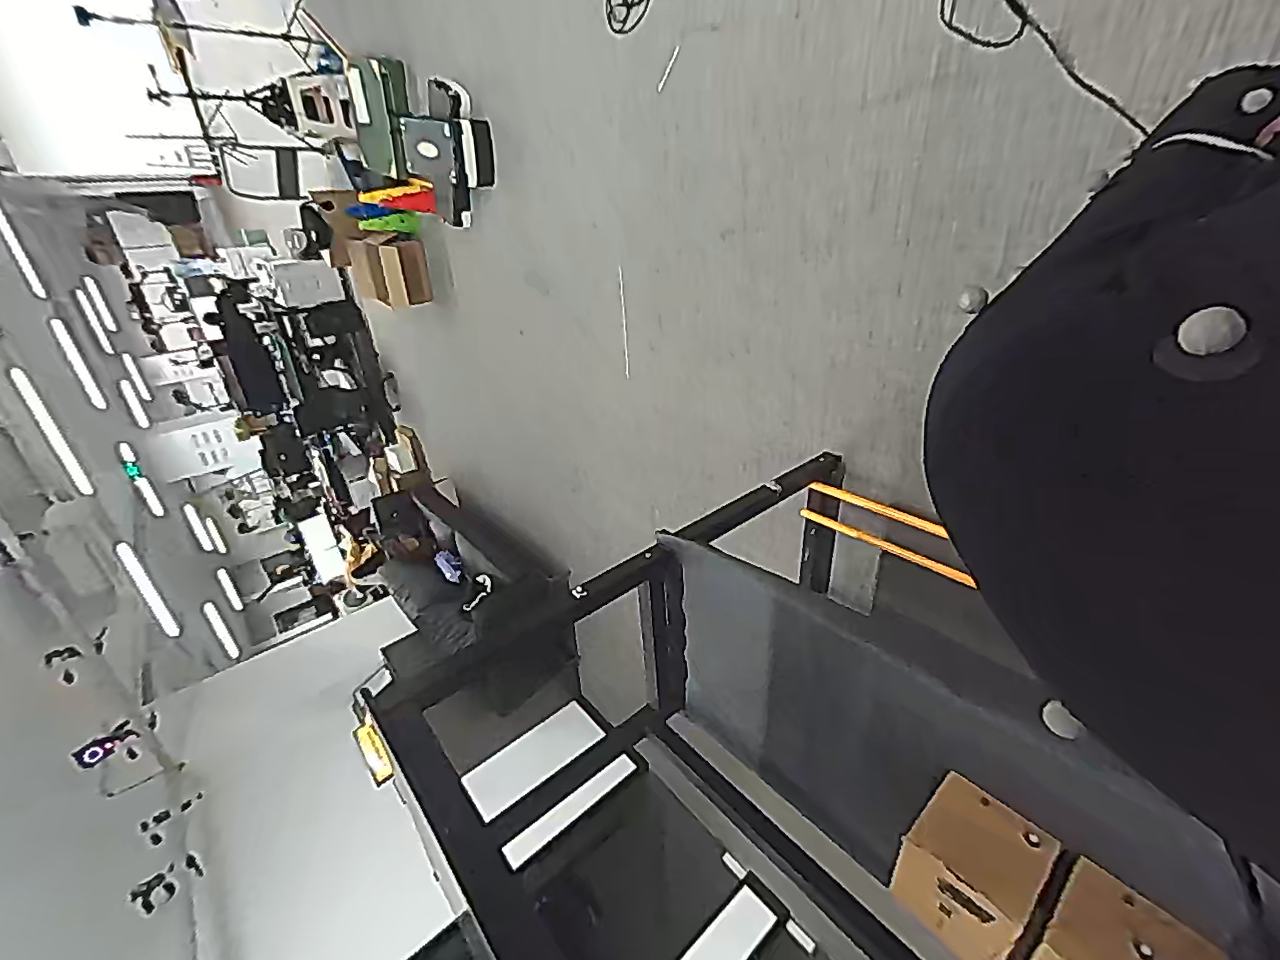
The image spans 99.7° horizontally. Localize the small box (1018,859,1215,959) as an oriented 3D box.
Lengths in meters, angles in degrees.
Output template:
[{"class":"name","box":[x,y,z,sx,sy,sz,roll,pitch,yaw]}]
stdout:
[{"class":"small box","box":[0.652,0.684,0.751,0.168,0.176,0.179,30,133,43]}]
